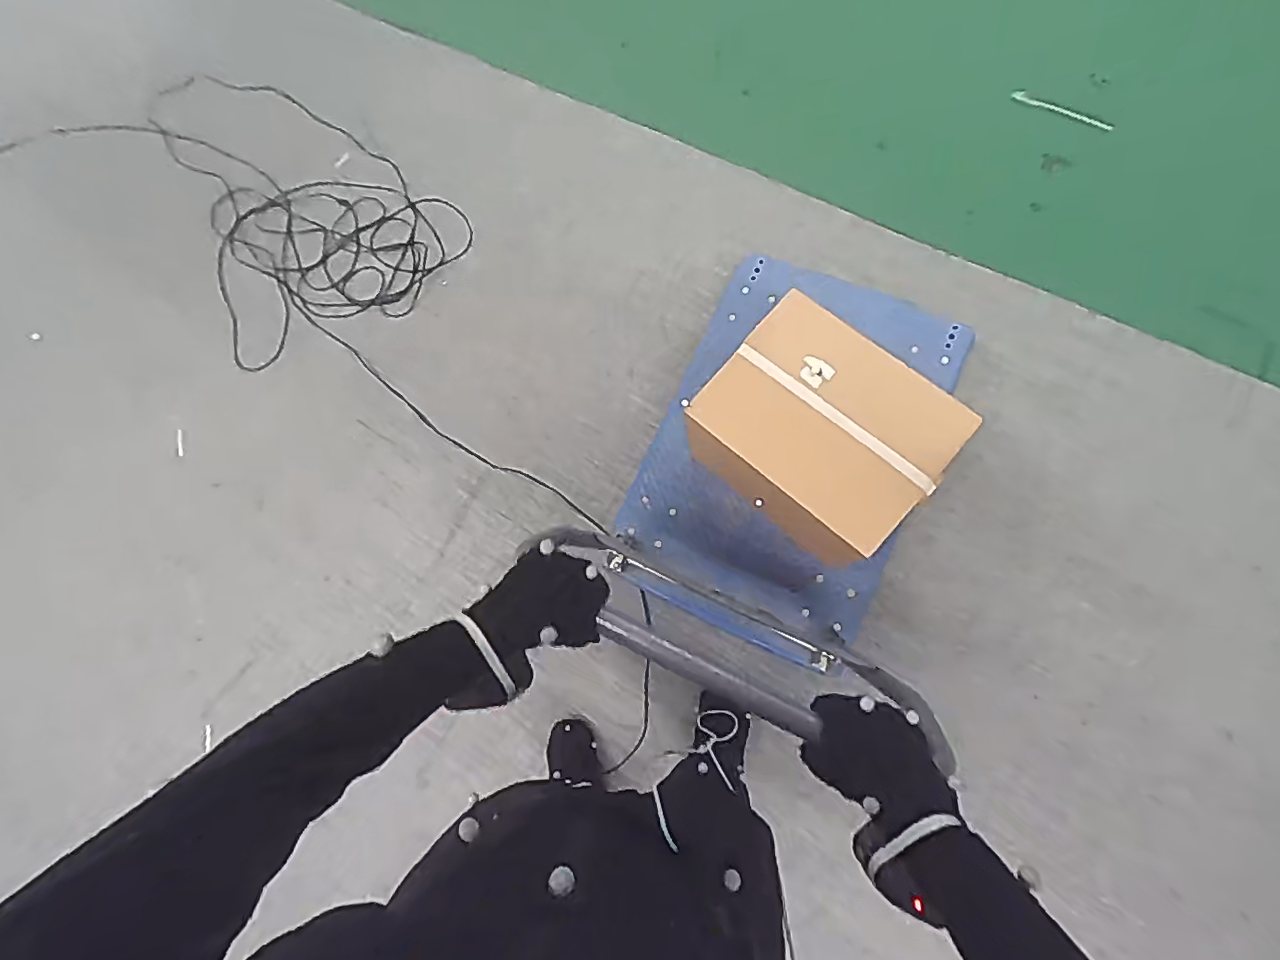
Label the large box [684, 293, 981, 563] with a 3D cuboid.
[{"bbox_3d":[0.348,-0.080,1.079,0.408,0.320,0.320,40,86,14],"label":"large box"}]
